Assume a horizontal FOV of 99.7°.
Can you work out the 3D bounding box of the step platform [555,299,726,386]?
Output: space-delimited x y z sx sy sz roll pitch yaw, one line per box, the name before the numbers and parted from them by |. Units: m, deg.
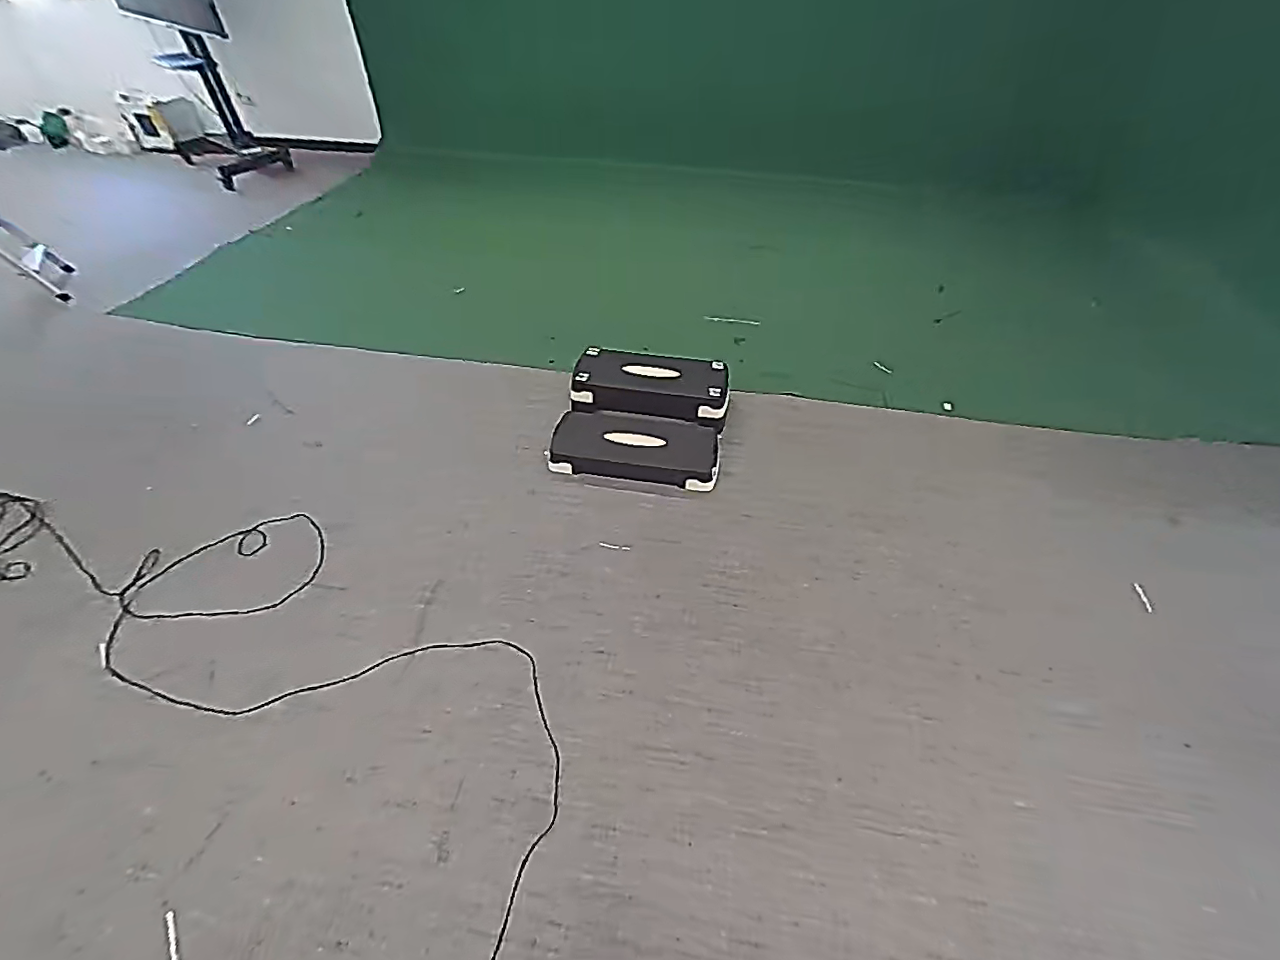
step platform | 0.003 -0.571 2.249 0.684 0.204 0.286 7 46 7
